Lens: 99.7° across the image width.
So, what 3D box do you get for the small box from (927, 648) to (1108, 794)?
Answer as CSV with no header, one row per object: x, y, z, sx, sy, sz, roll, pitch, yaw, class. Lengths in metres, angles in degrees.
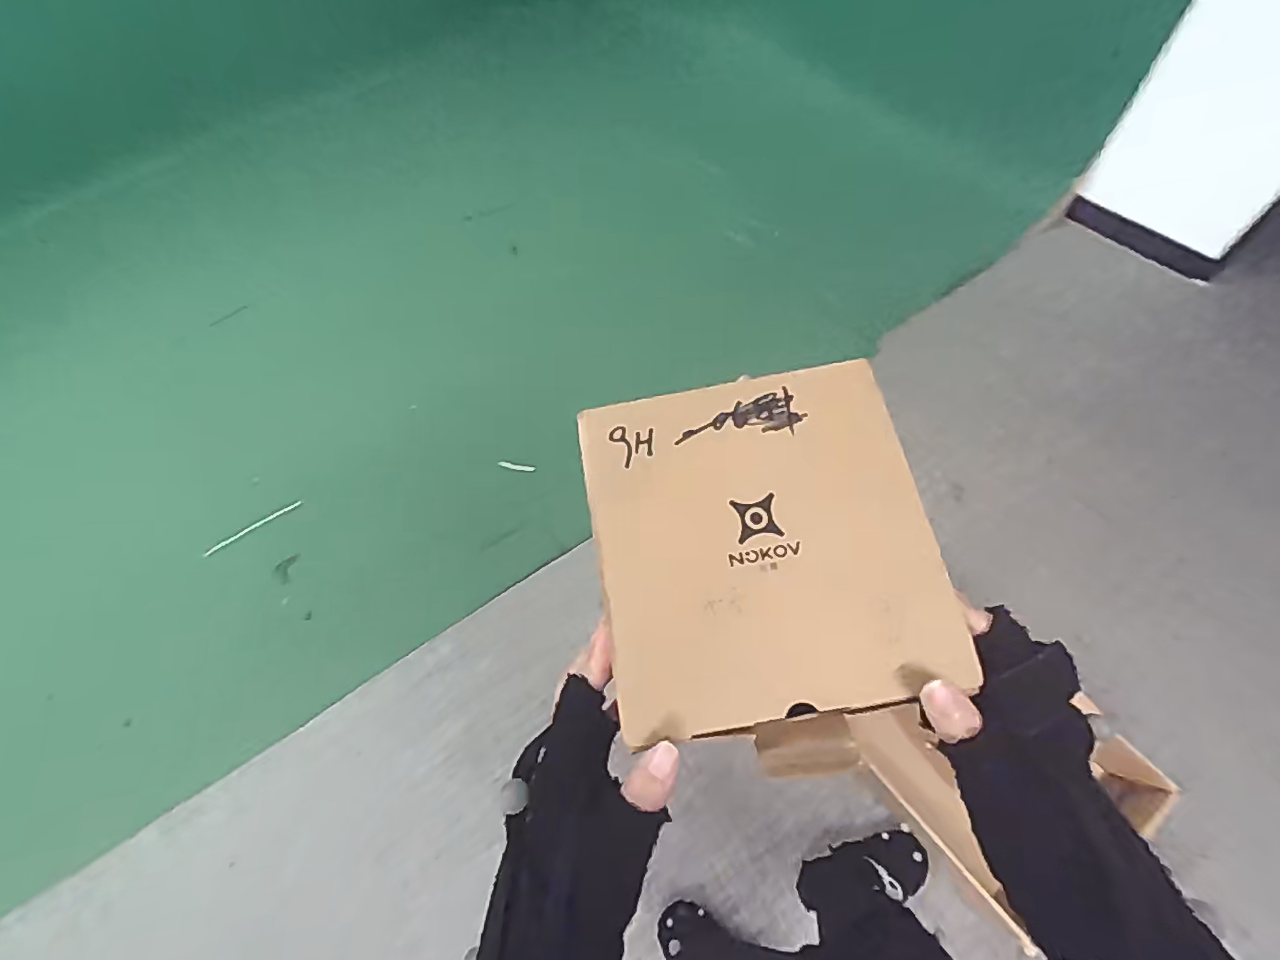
0.638,0.427,0.948,0.179,0.176,0.168,-27,61,-10,small box

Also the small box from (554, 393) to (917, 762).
0.052,0.070,0.373,0.168,0.176,0.179,-13,70,1,small box

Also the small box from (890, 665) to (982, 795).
0.650,0.513,1.104,0.168,0.176,0.179,-29,58,-10,small box
